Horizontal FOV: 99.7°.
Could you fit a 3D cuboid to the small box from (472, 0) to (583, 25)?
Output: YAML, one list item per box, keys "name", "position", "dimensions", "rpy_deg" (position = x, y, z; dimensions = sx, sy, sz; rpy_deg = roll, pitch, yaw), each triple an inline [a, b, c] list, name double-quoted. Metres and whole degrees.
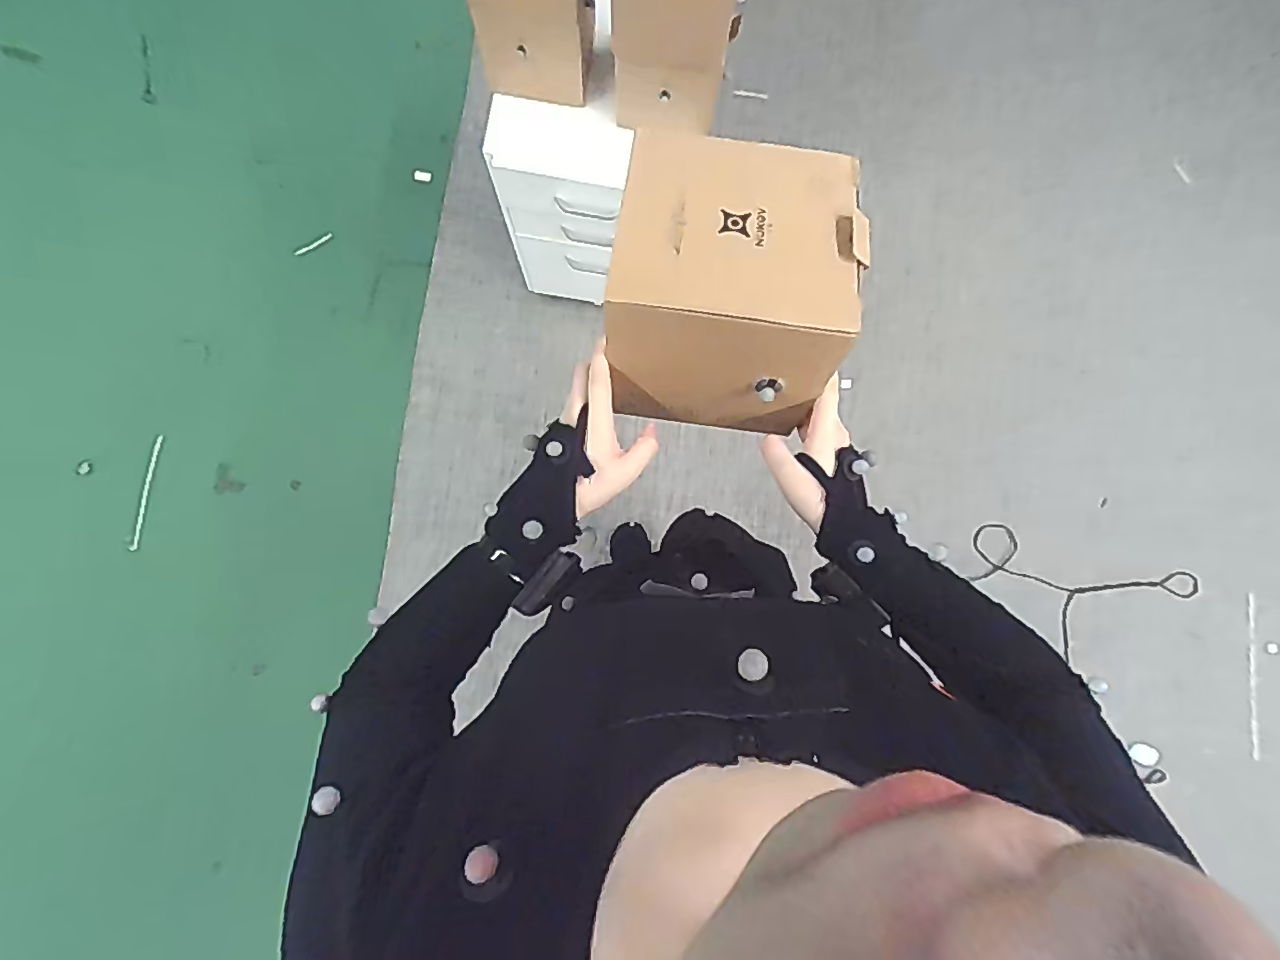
- name: "small box"
  position: [-0.163, -0.808, 0.773]
  dimensions: [0.179, 0.176, 0.168]
  rpy_deg: [10, 82, -5]

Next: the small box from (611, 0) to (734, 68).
- name: "small box"
  position: [0.054, -0.742, 0.777]
  dimensions: [0.179, 0.176, 0.168]
  rpy_deg: [9, 83, -2]

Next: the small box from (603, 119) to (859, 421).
- name: "small box"
  position: [0.068, -0.164, 0.464]
  dimensions: [0.179, 0.176, 0.168]
  rpy_deg: [7, 69, 1]

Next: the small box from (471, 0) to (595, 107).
- name: "small box"
  position: [-0.175, -0.791, 0.936]
  dimensions: [0.179, 0.176, 0.168]
  rpy_deg: [8, 83, -4]
